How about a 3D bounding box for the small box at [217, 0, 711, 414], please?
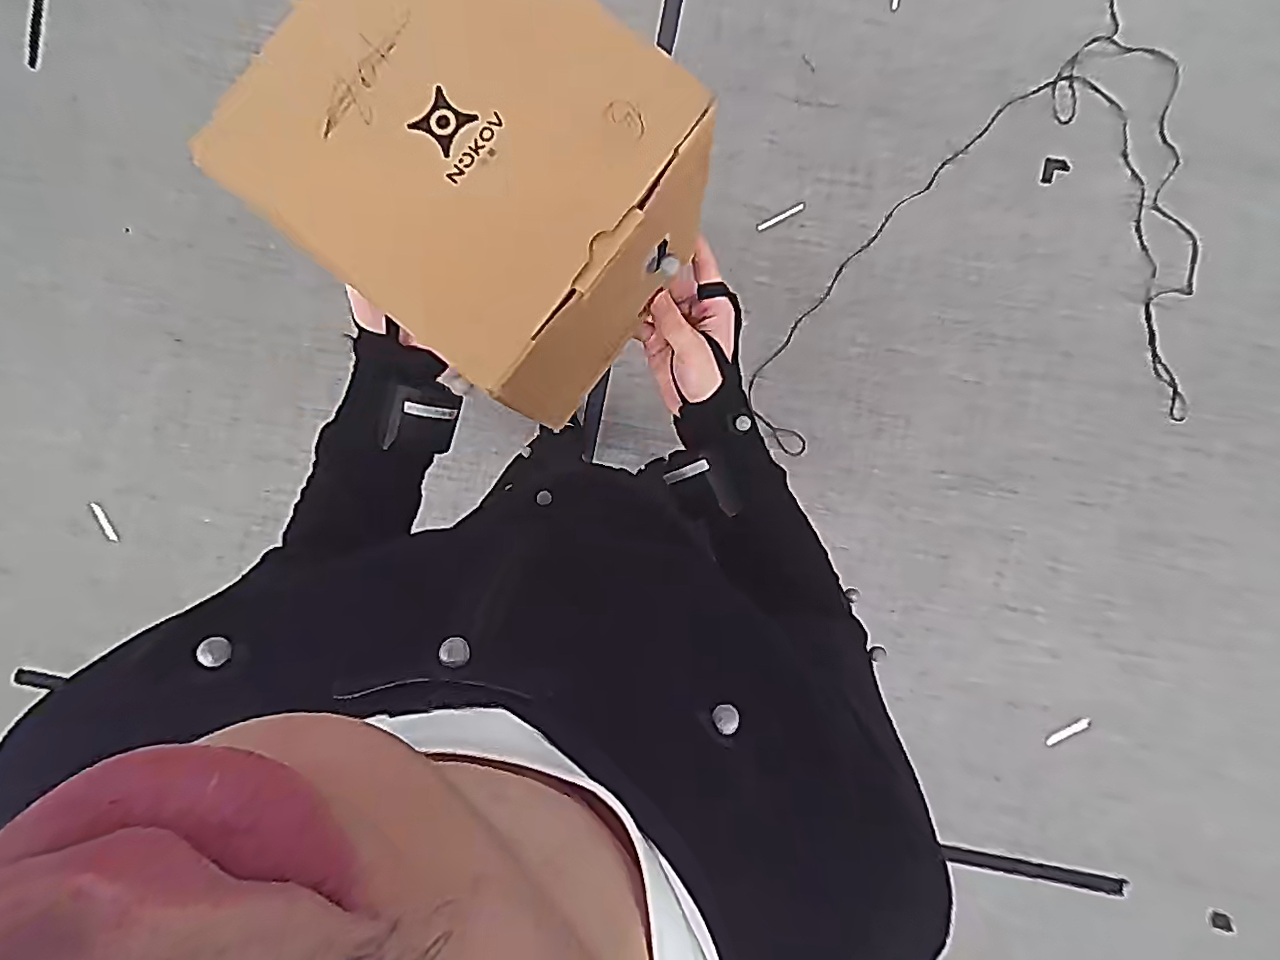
[{"bbox_3d":[-0.080,-0.155,0.329,0.179,0.176,0.168,36,90,2],"label":"small box"}]
